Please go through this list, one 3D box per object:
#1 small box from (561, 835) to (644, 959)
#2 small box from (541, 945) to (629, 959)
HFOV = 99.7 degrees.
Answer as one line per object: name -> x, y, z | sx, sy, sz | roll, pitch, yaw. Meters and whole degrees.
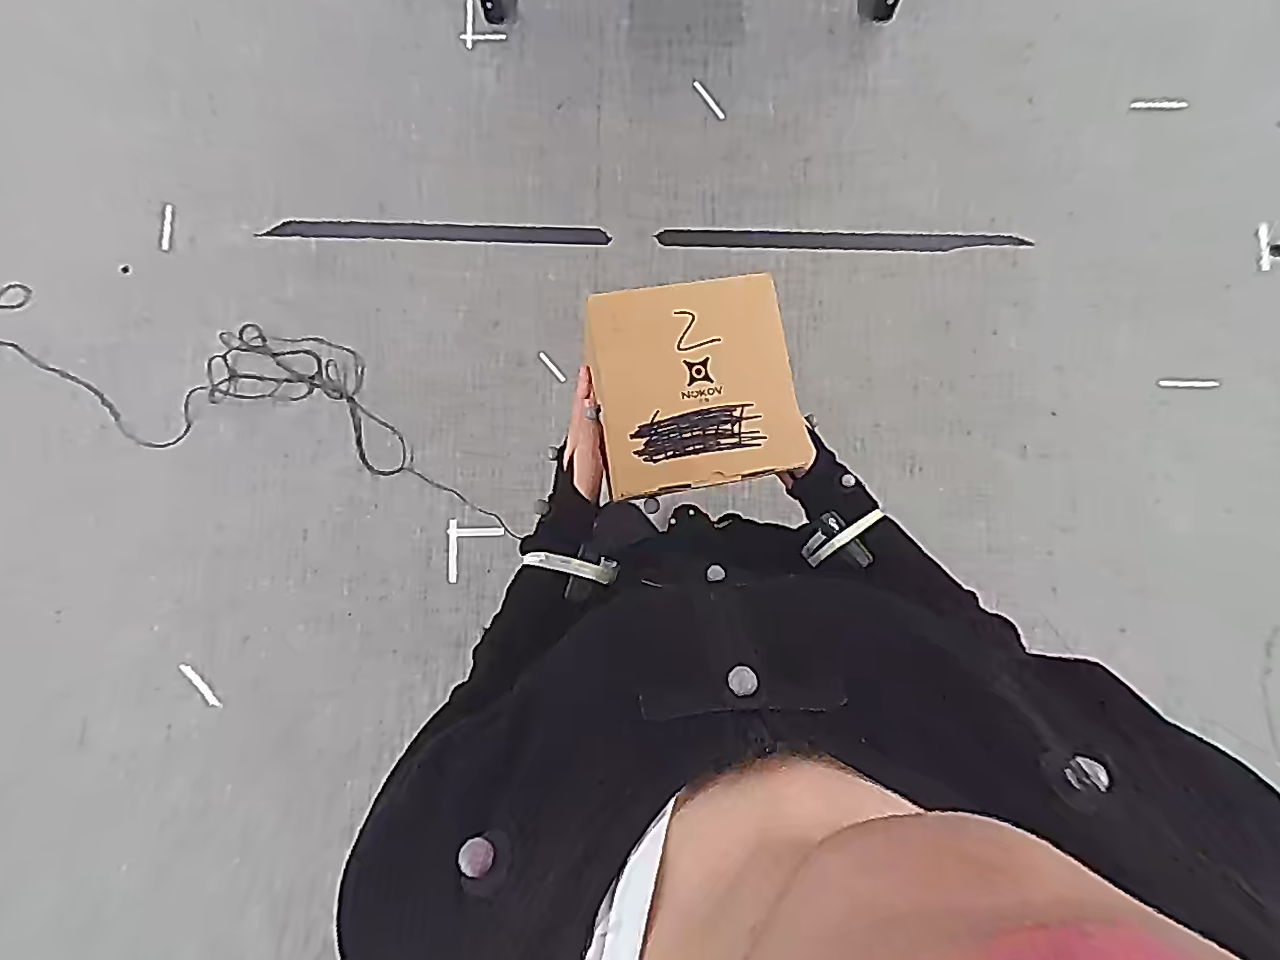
small box -> -0.084, 0.924, 1.203 | 0.179, 0.176, 0.168 | 4, 85, 1
small box -> -0.094, 0.907, 0.876 | 0.168, 0.176, 0.179 | 2, 87, 1
